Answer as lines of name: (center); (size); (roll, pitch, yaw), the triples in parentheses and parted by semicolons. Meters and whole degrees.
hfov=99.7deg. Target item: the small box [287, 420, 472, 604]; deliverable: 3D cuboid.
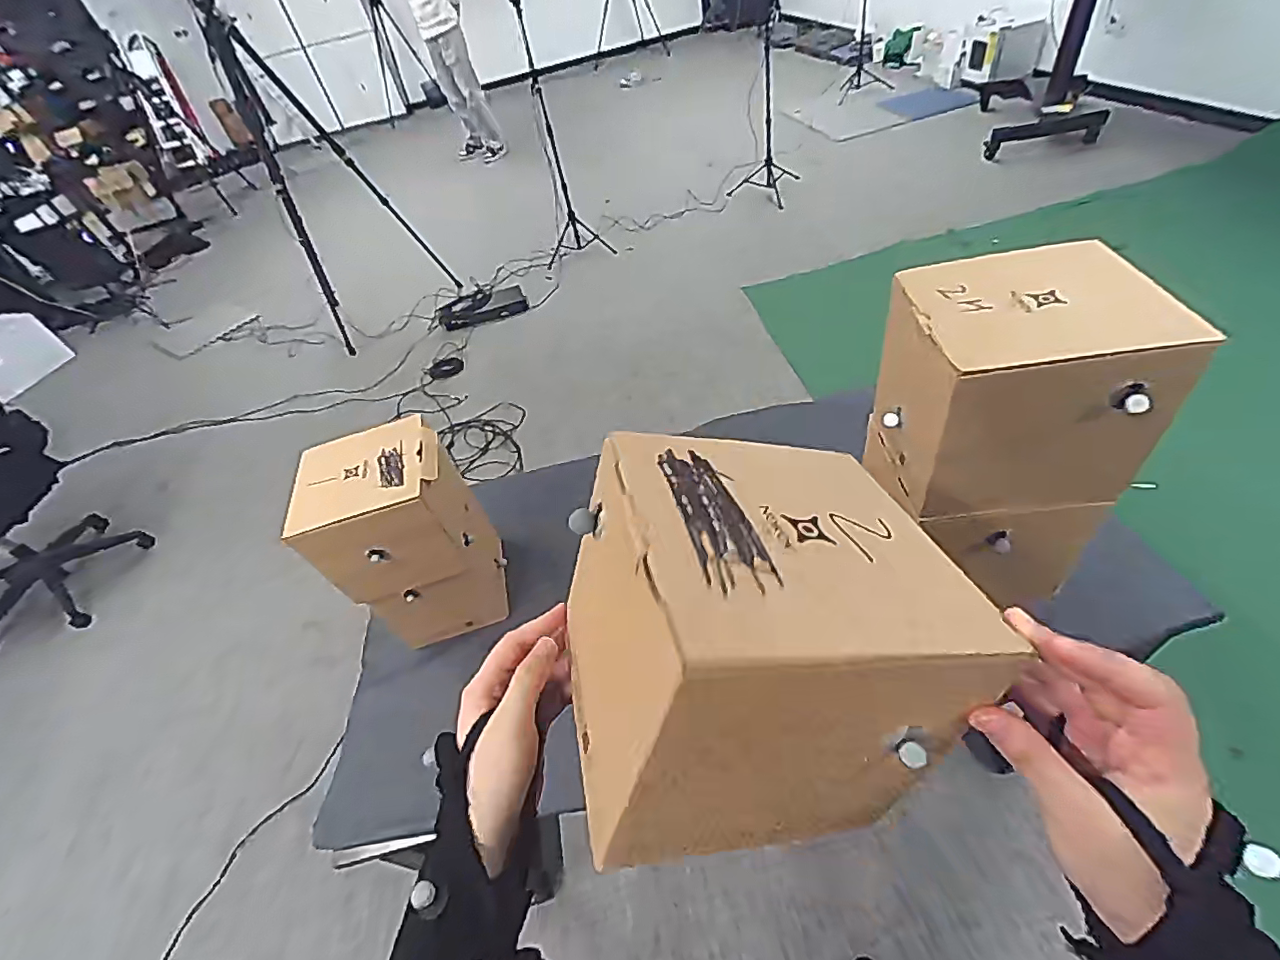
small box: (-0.349, 0.048, 0.767); (0.179, 0.176, 0.168); (-17, 47, -2)

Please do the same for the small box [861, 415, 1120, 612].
small box: (0.364, 0.031, 0.606); (0.179, 0.176, 0.168); (-8, 45, 9)

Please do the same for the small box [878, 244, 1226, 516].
small box: (0.335, -0.084, 0.492); (0.179, 0.176, 0.168); (-7, 45, 10)

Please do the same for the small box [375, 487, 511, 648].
small box: (-0.325, 0.146, 0.898); (0.168, 0.176, 0.179); (-17, 47, -3)

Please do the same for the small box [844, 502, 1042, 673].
small box: (0.391, 0.131, 0.732); (0.168, 0.176, 0.179); (-15, 46, 1)
